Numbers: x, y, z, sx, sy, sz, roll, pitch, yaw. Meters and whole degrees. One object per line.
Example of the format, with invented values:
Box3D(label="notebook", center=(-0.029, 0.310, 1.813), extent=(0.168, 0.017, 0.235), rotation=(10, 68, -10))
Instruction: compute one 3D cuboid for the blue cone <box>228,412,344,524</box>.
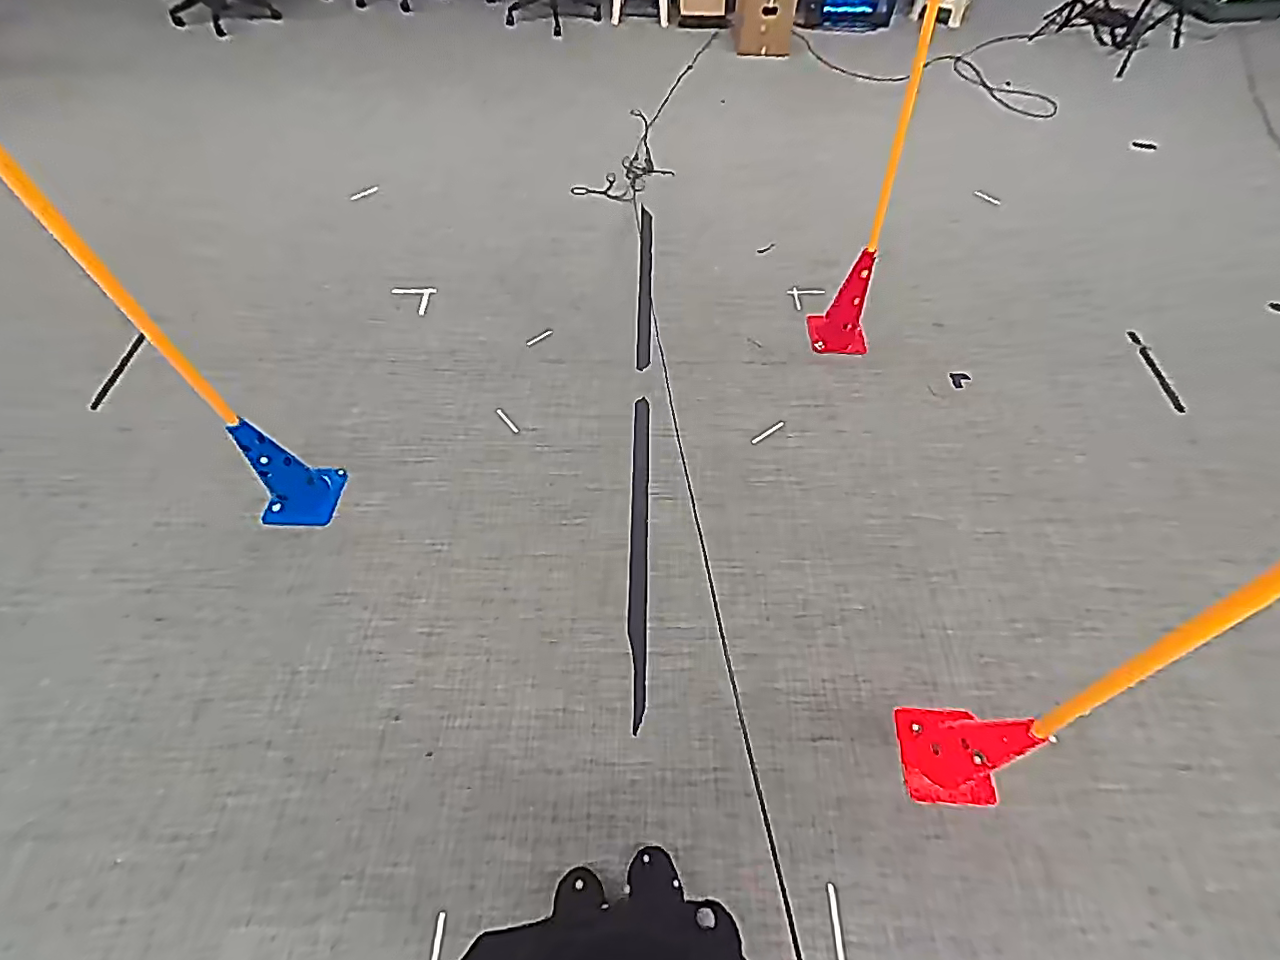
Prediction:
Box3D(label="blue cone", center=(-1.004, -0.044, 1.487), extent=(0.193, 0.380, 0.192), rotation=(4, 56, 1))

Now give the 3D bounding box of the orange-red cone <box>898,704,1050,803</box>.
Box3D(label="orange-red cone", center=(0.707, 0.534, 1.102), extent=(0.198, 0.360, 0.199), rotation=(3, 58, 2))
